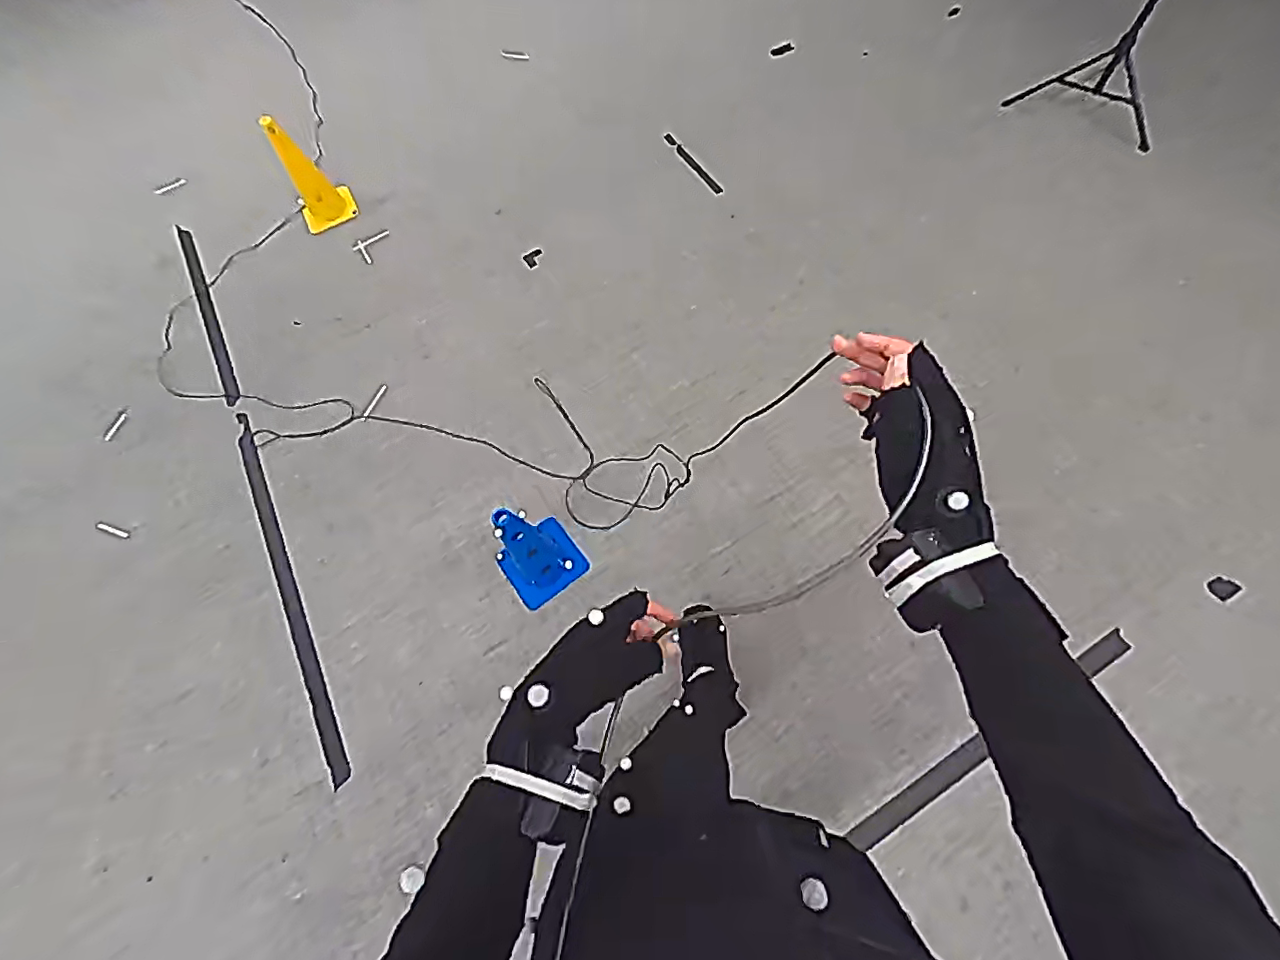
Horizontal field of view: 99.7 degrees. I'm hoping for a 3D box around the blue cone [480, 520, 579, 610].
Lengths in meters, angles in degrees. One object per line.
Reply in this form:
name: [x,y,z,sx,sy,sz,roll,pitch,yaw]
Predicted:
blue cone: [-0.295,0.167,1.312,0.192,0.380,0.193,-36,67,-10]
